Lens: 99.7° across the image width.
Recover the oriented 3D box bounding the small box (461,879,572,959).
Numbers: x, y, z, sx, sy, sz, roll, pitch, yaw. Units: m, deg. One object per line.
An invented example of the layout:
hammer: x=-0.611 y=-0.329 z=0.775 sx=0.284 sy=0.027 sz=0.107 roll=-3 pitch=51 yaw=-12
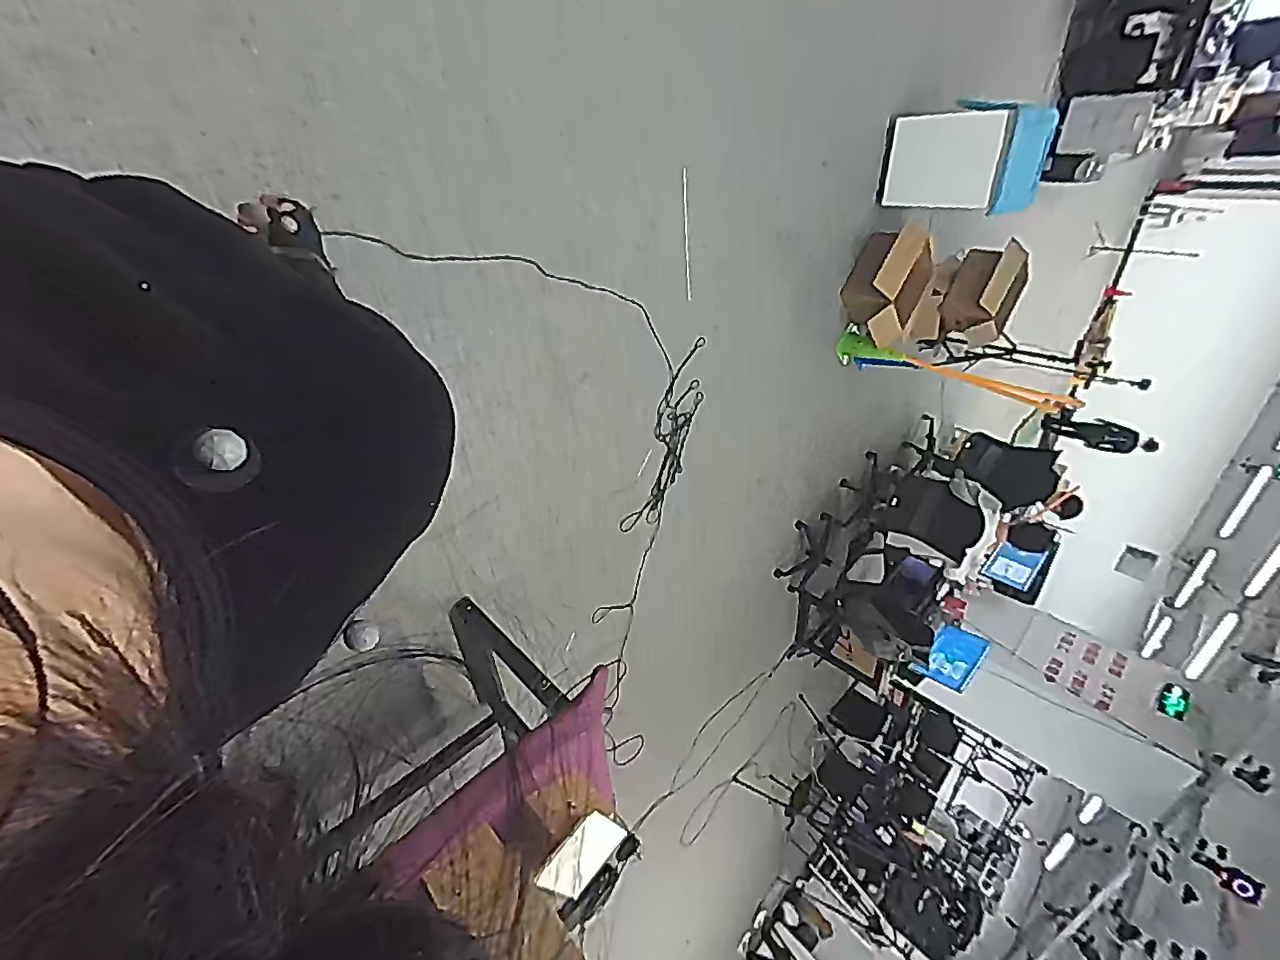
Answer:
small box: x=-0.255 y=1.002 z=1.132 sx=0.179 sy=0.176 sz=0.168 roll=-28 pitch=130 yaw=-35
